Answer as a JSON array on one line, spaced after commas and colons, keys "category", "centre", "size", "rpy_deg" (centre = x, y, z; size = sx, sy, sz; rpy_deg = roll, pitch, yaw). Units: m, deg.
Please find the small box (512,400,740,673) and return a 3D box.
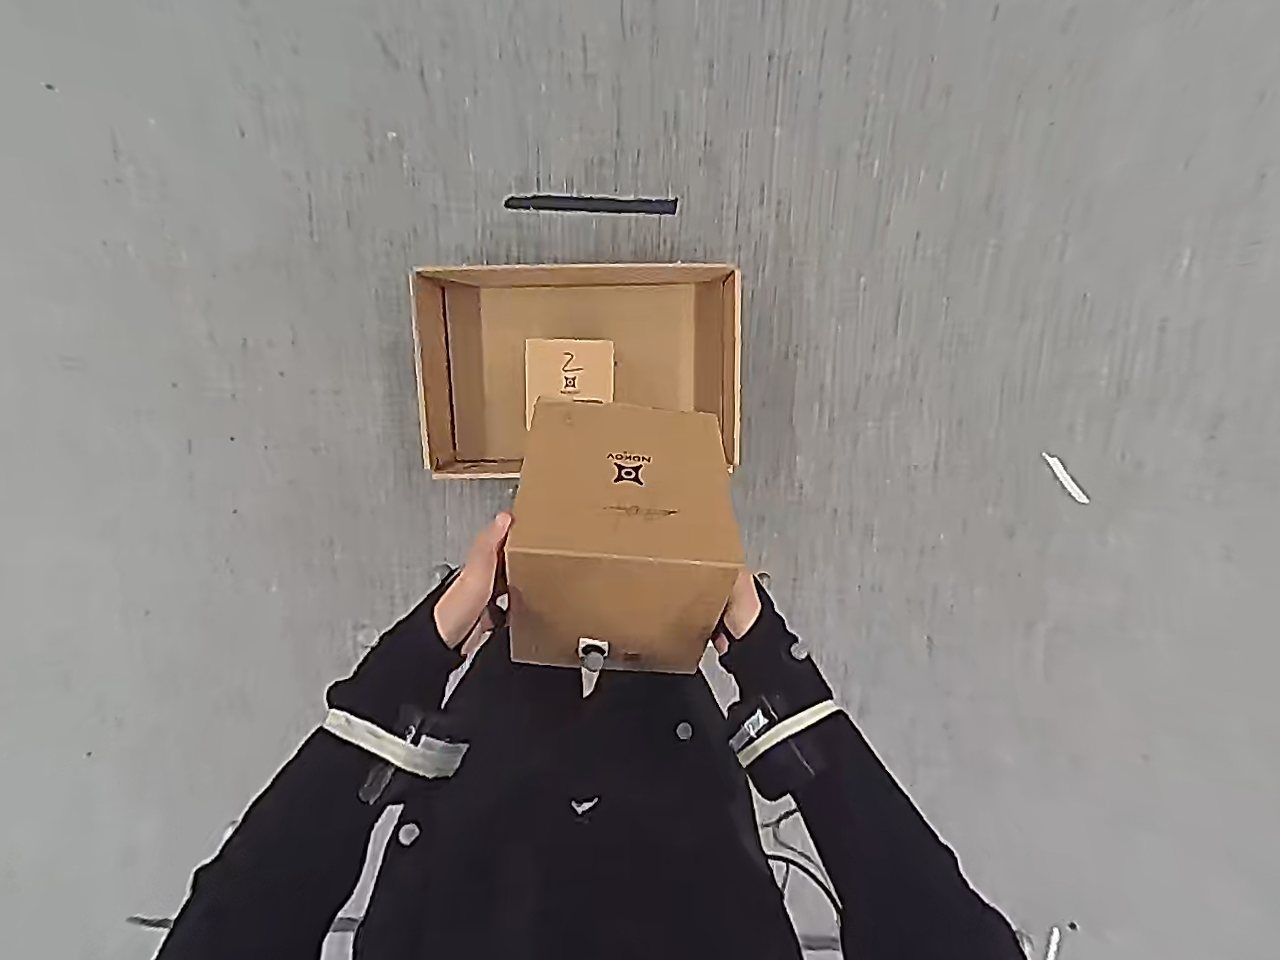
[{"category": "small box", "centre": [-0.021, 0.052, 0.493], "size": [0.168, 0.179, 0.176], "rpy_deg": [4, 135, -6]}]
